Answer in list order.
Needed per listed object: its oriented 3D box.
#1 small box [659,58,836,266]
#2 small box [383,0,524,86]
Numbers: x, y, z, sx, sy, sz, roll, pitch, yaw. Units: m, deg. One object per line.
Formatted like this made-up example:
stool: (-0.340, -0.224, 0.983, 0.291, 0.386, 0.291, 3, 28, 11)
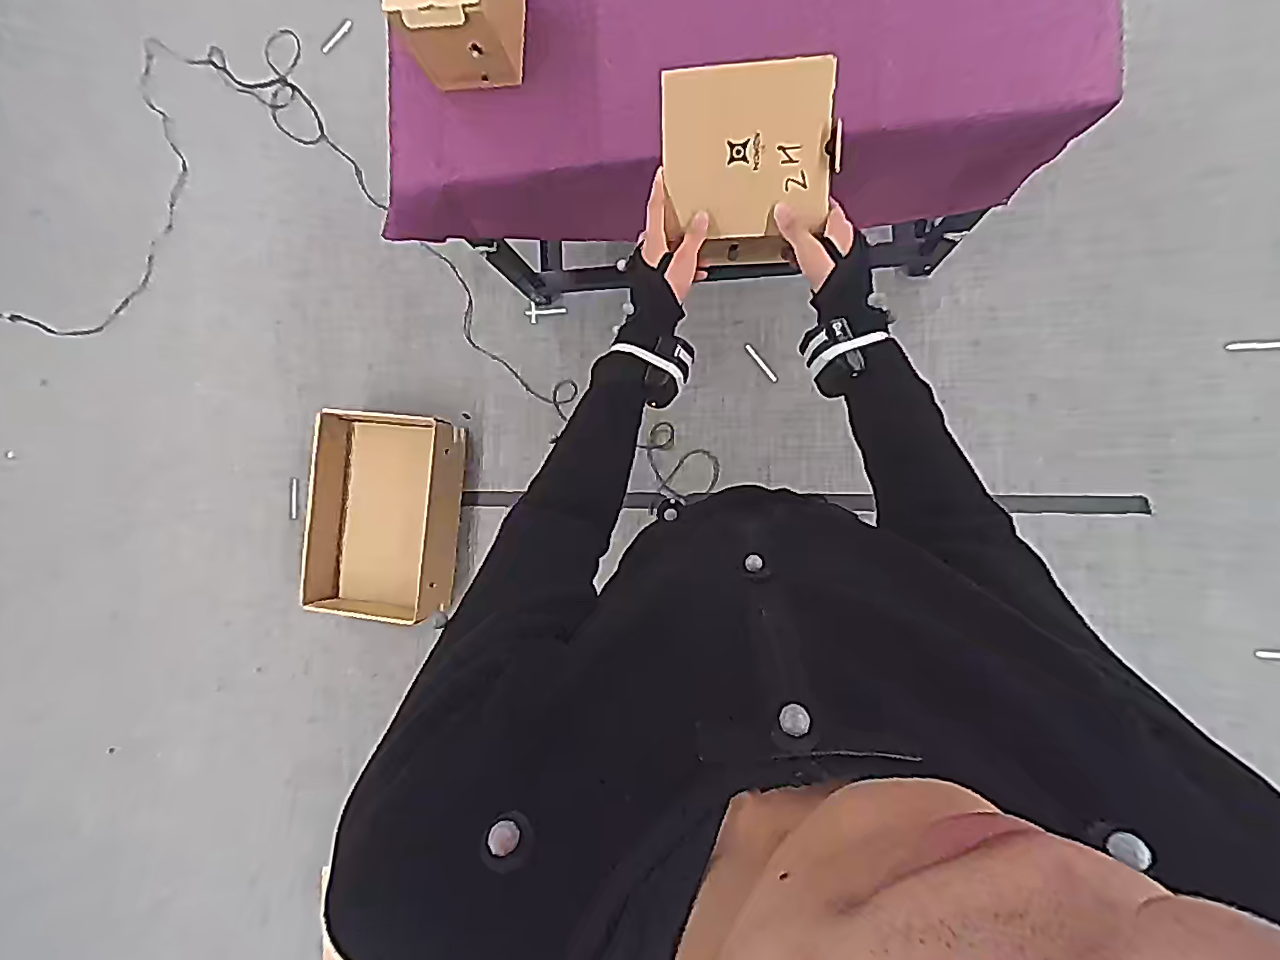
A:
small box: (0.116, -0.353, 0.635, 0.179, 0.176, 0.168, 0, 103, 6)
small box: (-0.304, -0.803, 0.913, 0.168, 0.176, 0.179, 4, 89, 8)
